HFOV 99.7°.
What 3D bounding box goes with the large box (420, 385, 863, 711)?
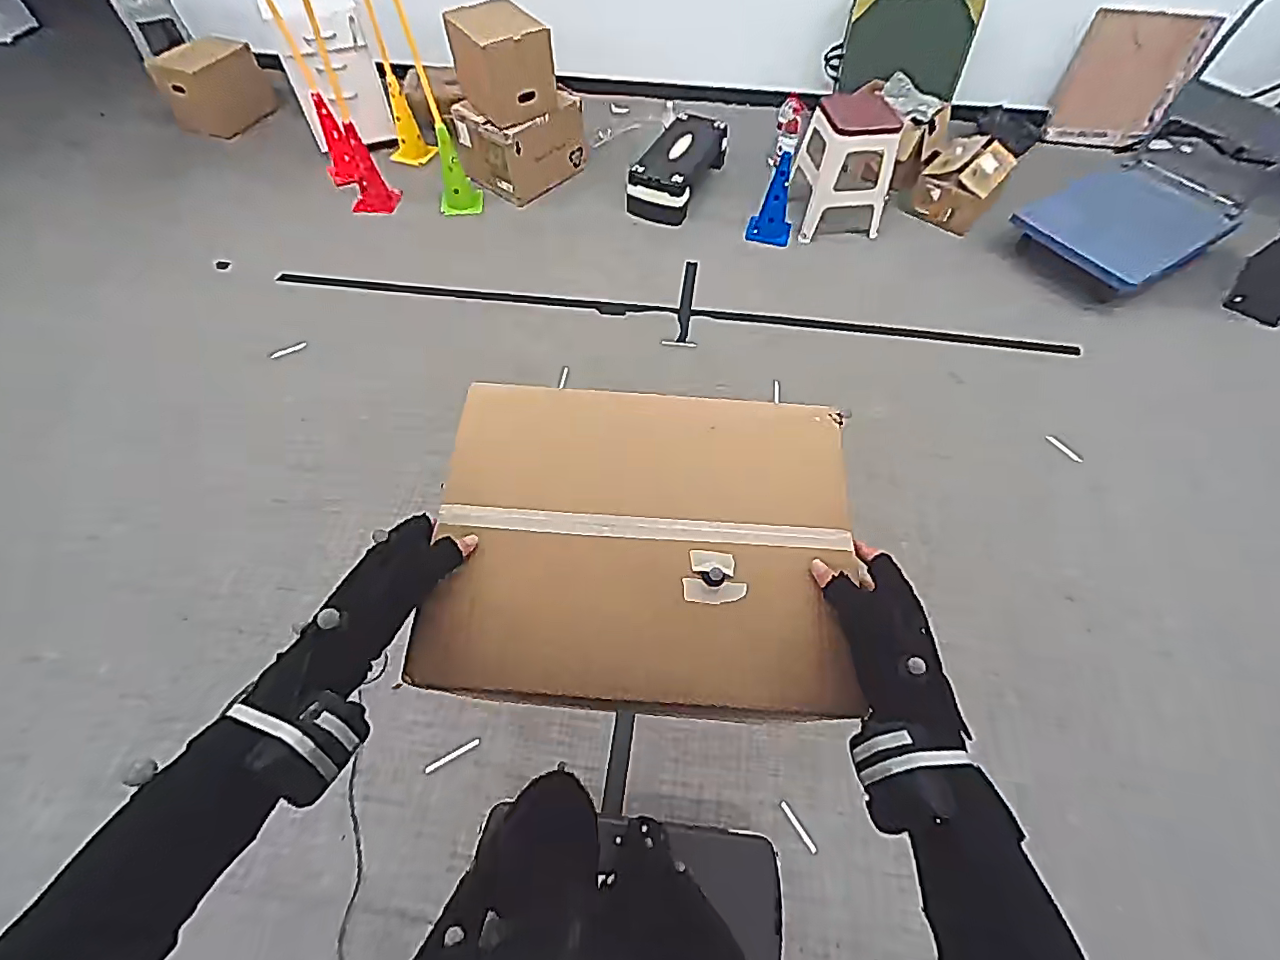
[{"bbox_3d":[0.003,0.106,0.674,0.408,0.320,0.320,4,66,0],"label":"large box"}]
